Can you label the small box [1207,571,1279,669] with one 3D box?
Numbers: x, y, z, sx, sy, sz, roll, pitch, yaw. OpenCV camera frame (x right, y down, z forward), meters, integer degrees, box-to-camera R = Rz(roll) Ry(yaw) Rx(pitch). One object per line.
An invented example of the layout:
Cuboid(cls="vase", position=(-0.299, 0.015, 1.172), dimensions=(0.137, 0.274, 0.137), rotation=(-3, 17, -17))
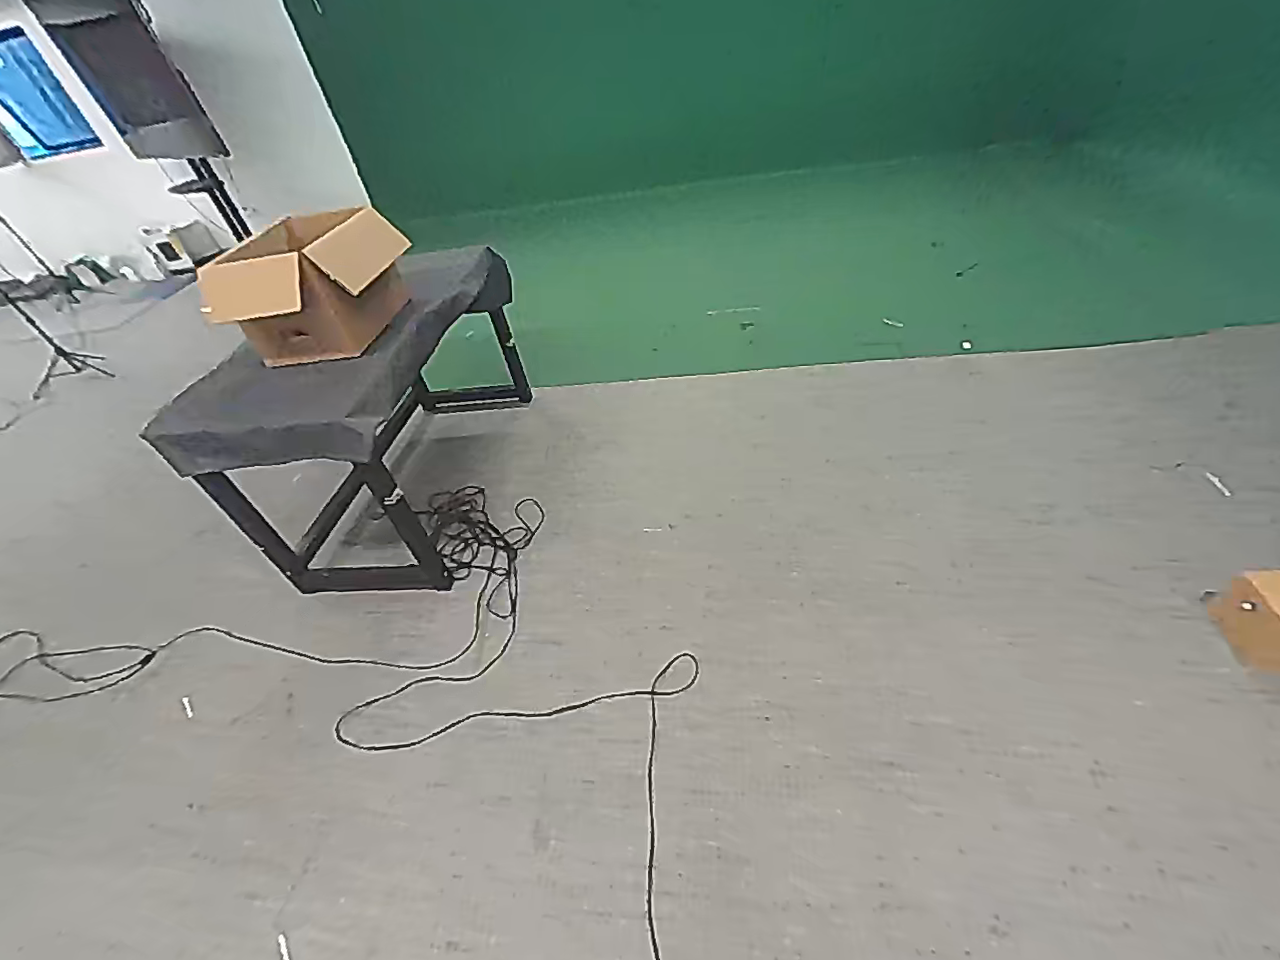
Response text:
Cuboid(cls="small box", position=(1.516, 0.333, 1.269), dimensions=(0.168, 0.176, 0.179), rotation=(-1, 42, 12))
